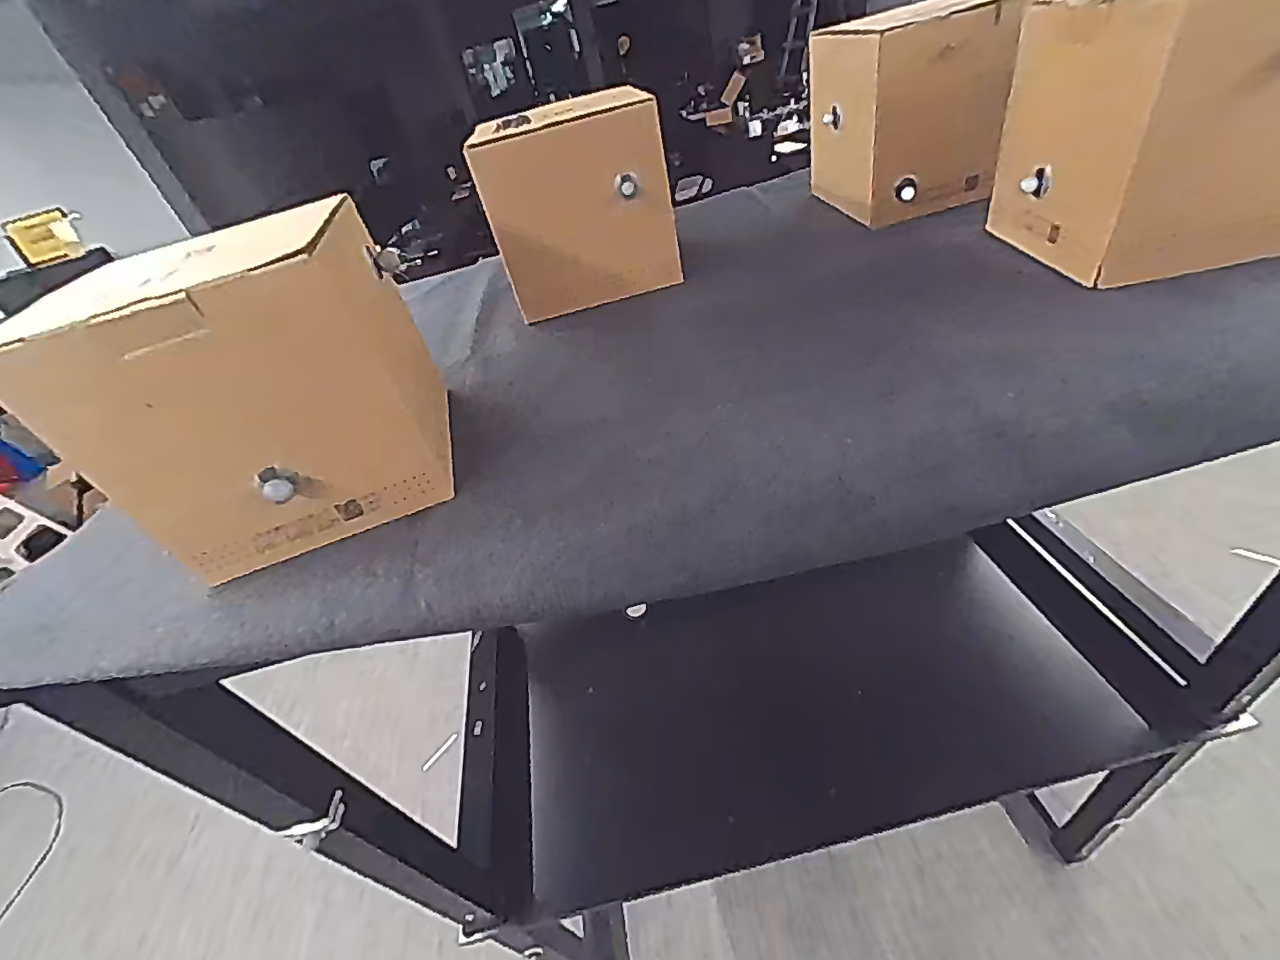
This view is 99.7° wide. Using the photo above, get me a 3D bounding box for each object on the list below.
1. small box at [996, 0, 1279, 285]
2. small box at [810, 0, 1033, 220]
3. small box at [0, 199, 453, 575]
[{"bbox_3d":[0.391,-0.260,0.380,0.179,0.176,0.168,-10,38,9],"label":"small box"},{"bbox_3d":[0.294,-0.396,0.577,0.168,0.176,0.179,-14,38,3],"label":"small box"},{"bbox_3d":[-0.242,-0.069,0.372,0.168,0.176,0.179,-21,40,-6],"label":"small box"}]
